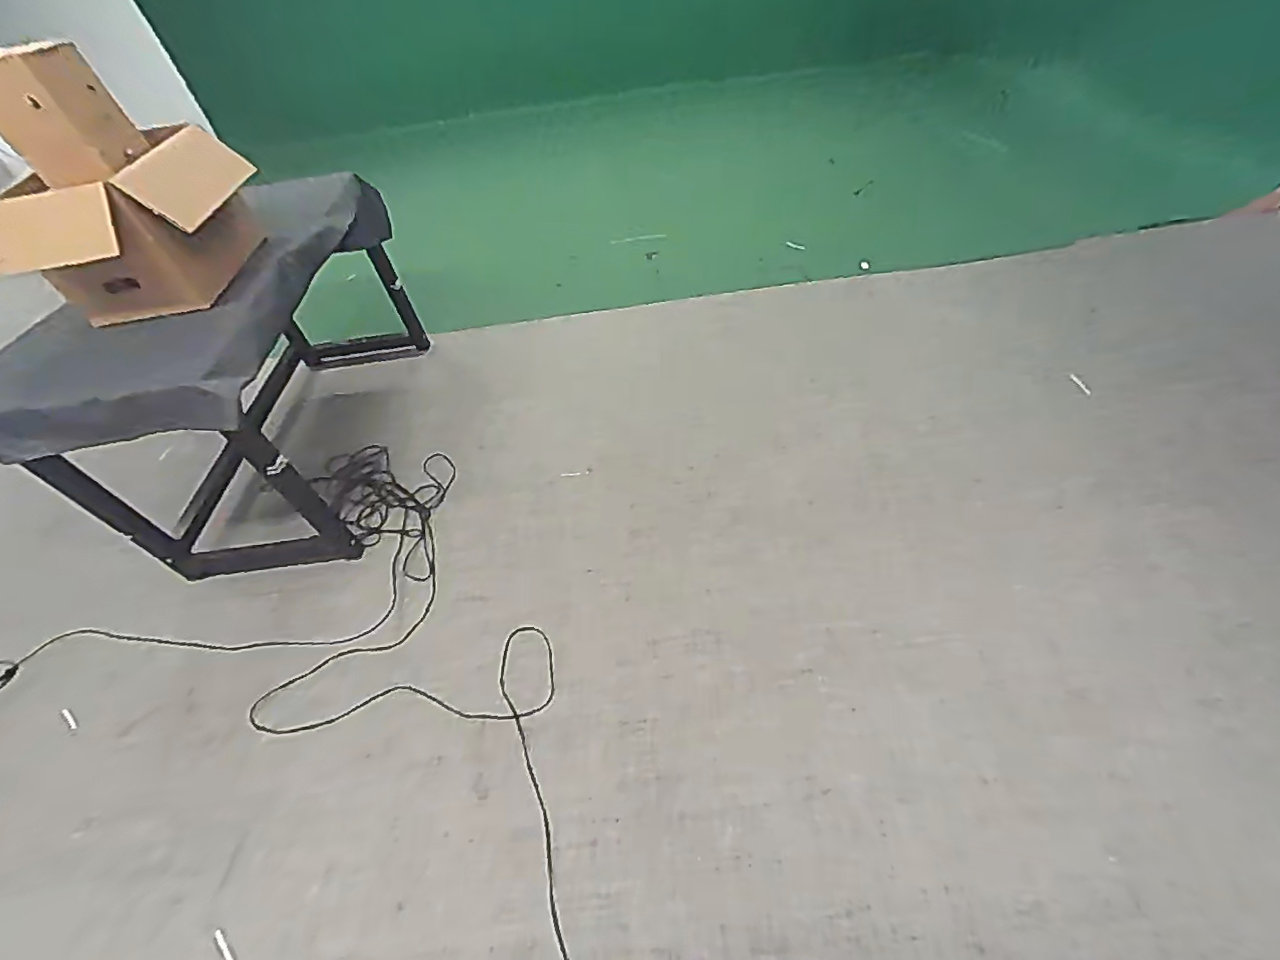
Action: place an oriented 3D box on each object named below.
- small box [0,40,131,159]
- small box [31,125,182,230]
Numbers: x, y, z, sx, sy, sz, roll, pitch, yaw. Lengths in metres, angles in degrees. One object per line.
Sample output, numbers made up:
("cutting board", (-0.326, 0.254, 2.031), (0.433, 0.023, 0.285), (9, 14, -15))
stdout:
("small box", (-1.310, -0.841, 1.200), (0.179, 0.176, 0.168), (-8, 48, 4))
("small box", (-1.282, -0.737, 1.321), (0.168, 0.176, 0.179), (-8, 49, 2))
